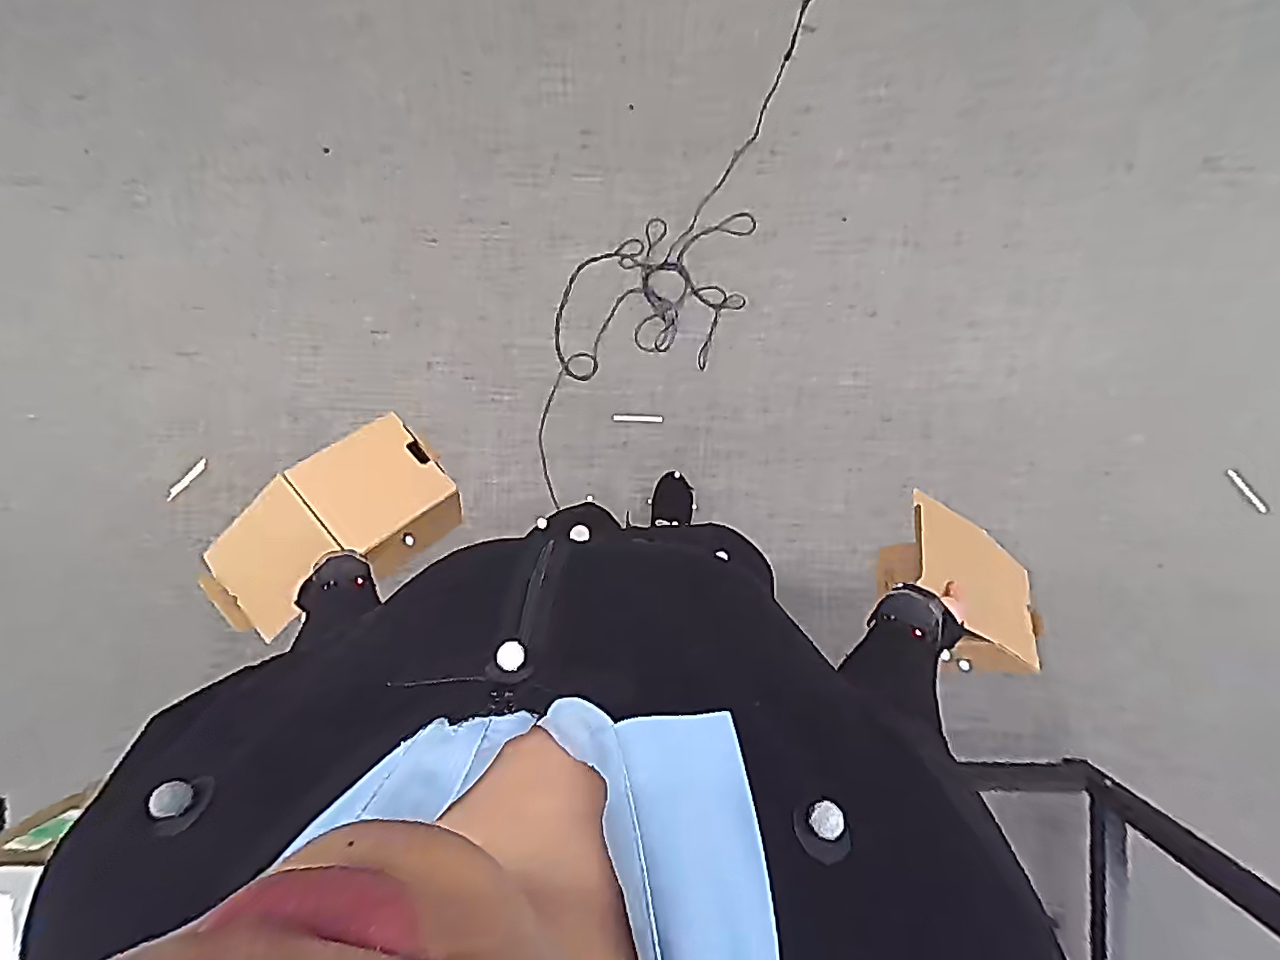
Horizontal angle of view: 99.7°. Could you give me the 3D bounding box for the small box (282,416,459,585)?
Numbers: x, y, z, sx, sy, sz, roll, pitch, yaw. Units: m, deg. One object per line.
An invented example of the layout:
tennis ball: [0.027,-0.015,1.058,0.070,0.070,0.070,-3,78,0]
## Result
small box: [-0.402,0.039,0.843,0.179,0.176,0.168,-38,81,-27]
